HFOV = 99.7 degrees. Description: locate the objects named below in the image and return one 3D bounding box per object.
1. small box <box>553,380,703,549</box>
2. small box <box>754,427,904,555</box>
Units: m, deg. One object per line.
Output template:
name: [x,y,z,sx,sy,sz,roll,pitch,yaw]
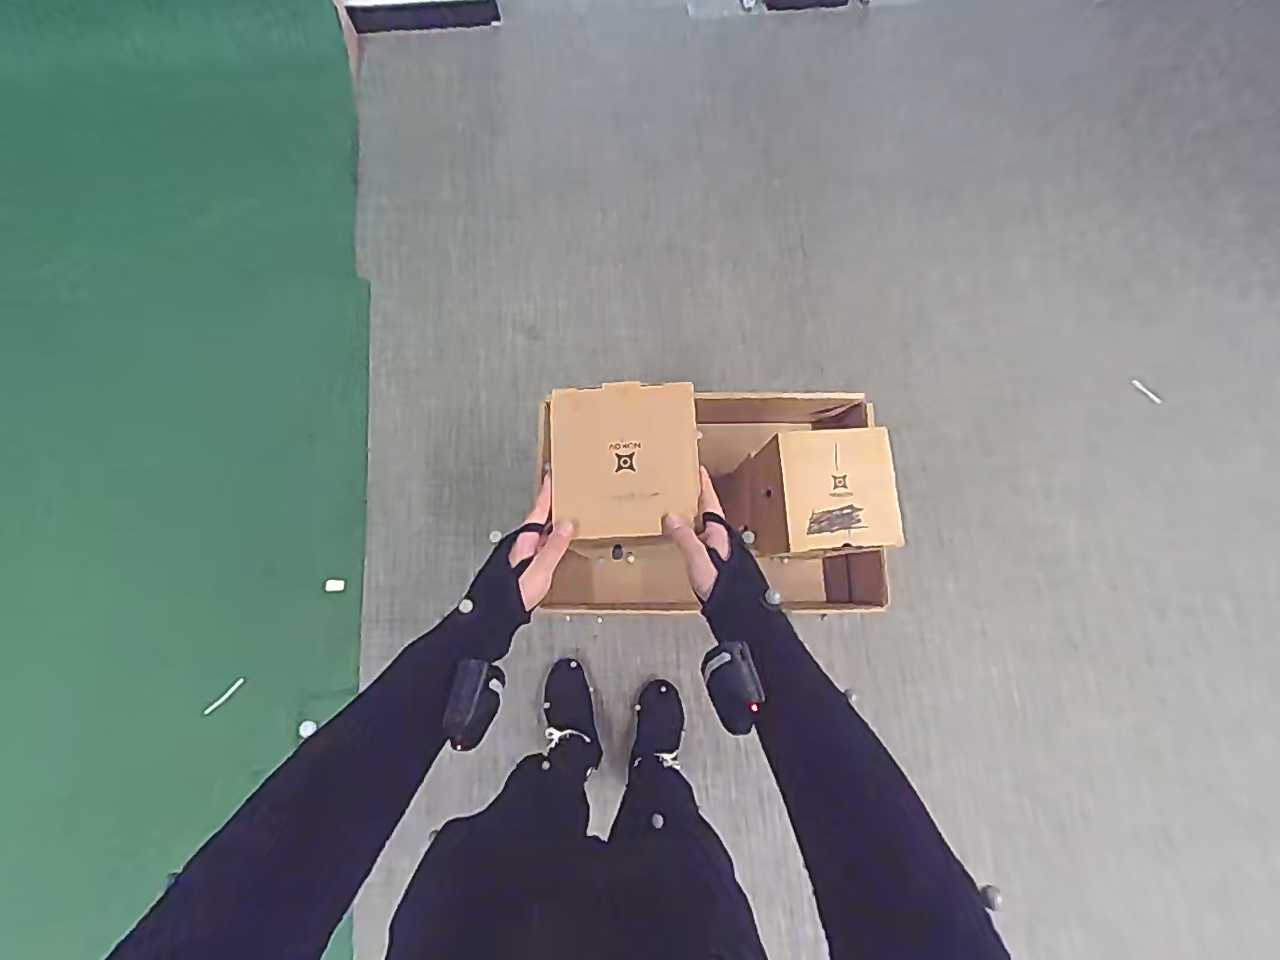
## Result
small box: [-0.016,-0.010,0.675,0.168,0.176,0.179,-2,79,0]
small box: [0.283,0.026,0.846,0.168,0.176,0.179,-2,78,-2]
